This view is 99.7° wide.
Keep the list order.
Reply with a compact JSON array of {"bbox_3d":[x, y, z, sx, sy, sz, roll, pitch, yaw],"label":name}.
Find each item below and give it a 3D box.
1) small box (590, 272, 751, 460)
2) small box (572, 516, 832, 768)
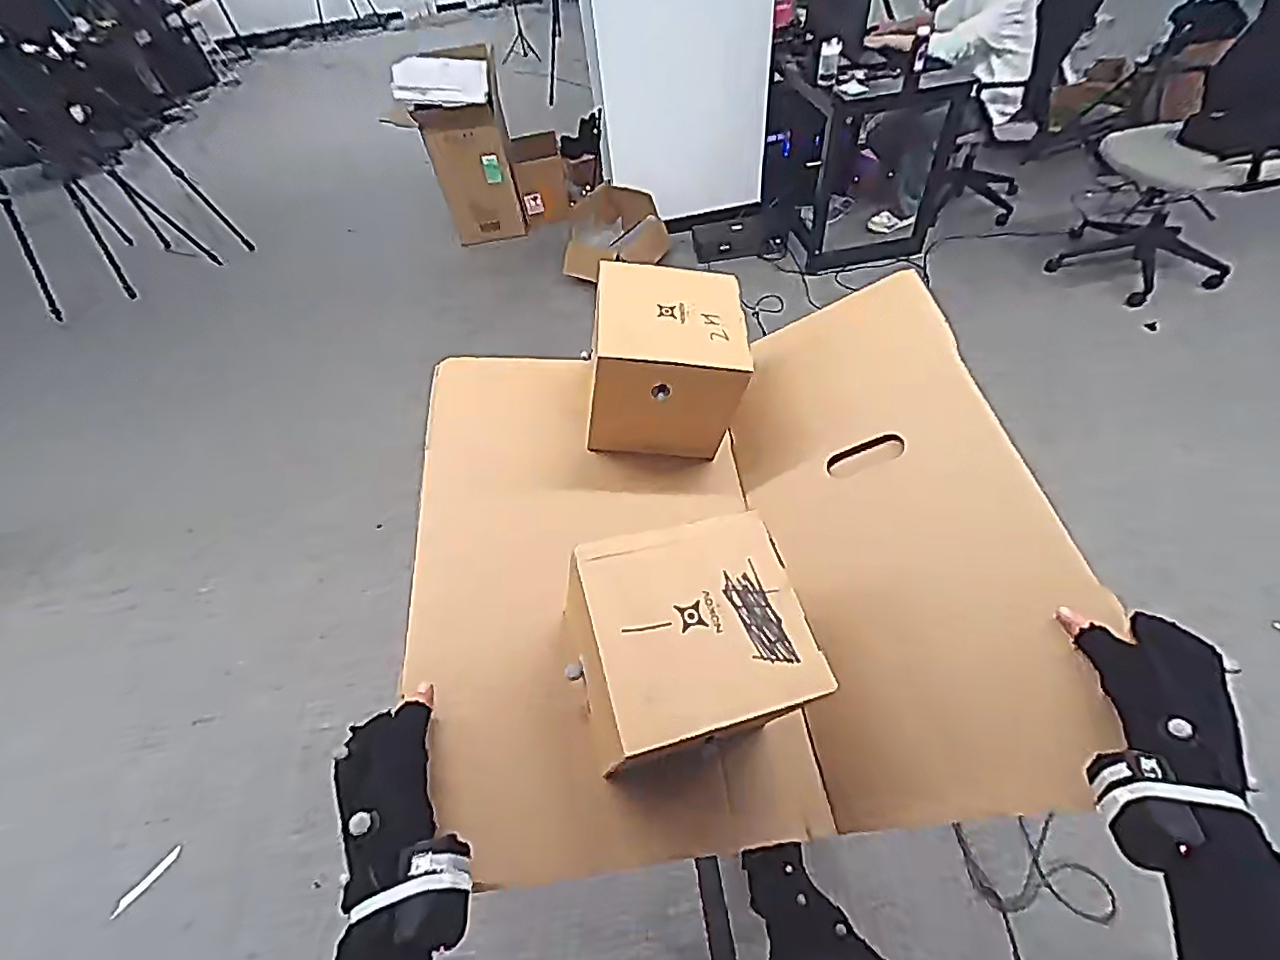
[{"bbox_3d":[0.028,-0.140,0.703,0.179,0.176,0.168,5,57,-8],"label":"small box"},{"bbox_3d":[0.039,0.156,0.511,0.179,0.176,0.168,-10,60,-15],"label":"small box"}]
